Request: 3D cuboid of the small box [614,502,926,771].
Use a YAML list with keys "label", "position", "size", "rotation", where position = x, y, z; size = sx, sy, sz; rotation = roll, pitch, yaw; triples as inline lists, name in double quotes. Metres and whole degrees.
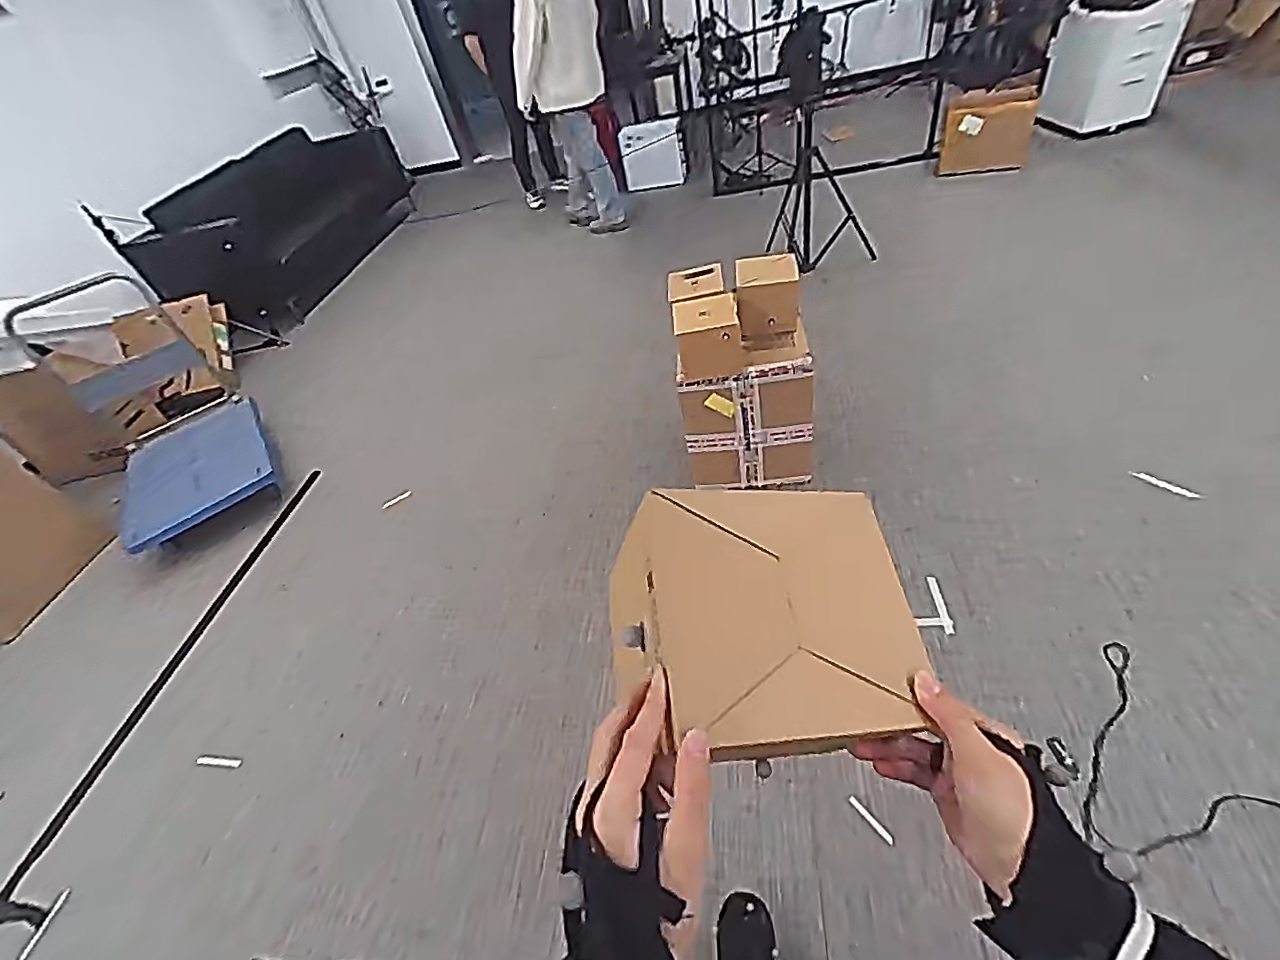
- label: "small box"
  position: [0.083, 0.127, 0.430]
  size: [0.179, 0.176, 0.168]
  rotation: [2, 58, -14]
